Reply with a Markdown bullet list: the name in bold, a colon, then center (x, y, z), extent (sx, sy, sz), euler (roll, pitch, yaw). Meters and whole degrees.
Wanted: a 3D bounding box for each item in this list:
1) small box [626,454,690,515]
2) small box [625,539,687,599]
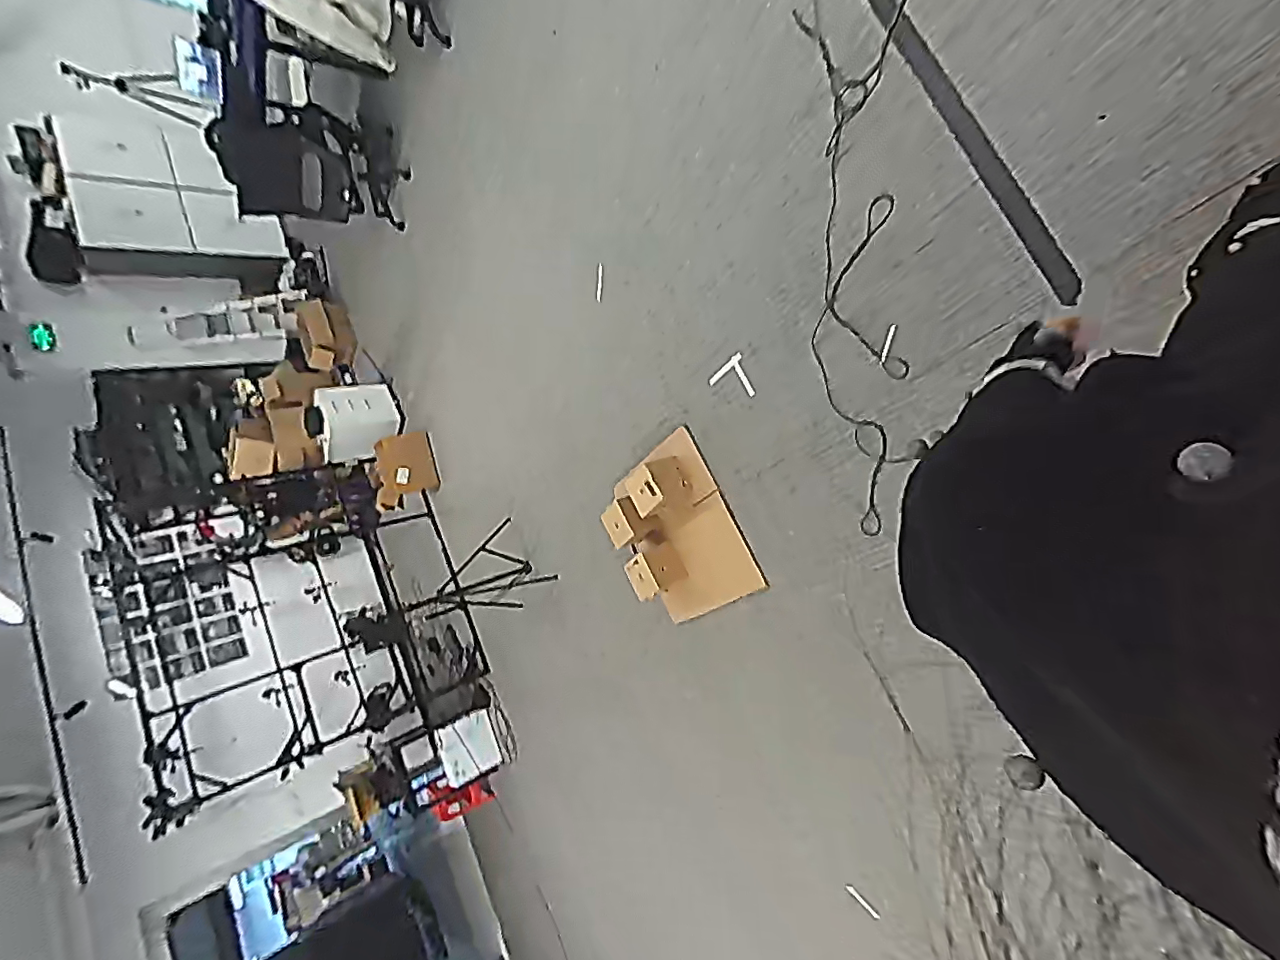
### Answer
- **small box**: center (0.079, 0.014, 2.178), extent (0.179, 0.176, 0.168), euler (-45, 67, 48)
- **small box**: center (0.072, 0.378, 2.301), extent (0.168, 0.176, 0.179), euler (-45, 68, 47)
